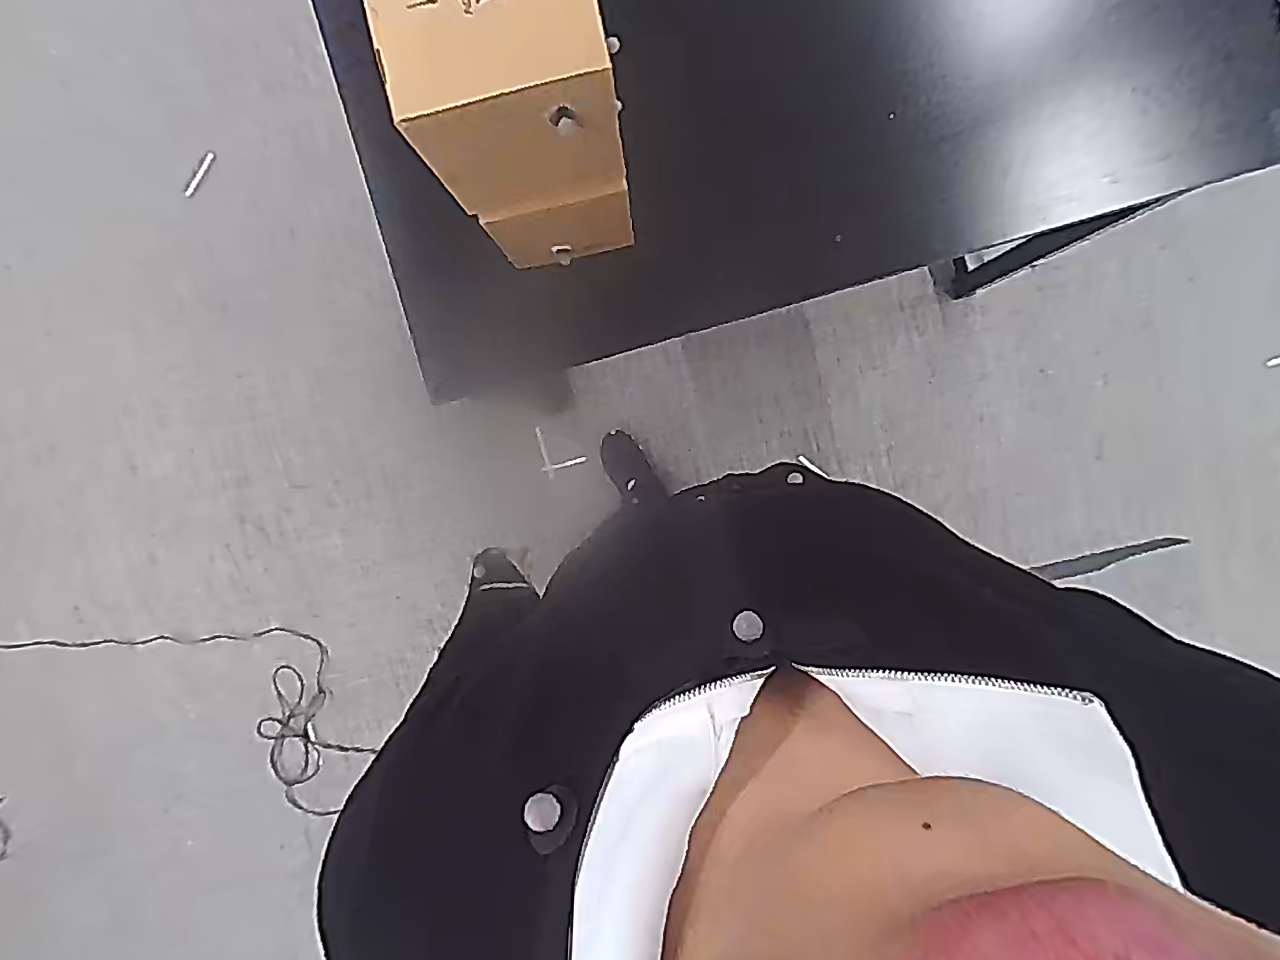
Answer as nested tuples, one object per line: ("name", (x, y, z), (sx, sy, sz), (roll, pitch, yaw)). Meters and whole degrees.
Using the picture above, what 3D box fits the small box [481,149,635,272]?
("small box", (-0.105, -0.379, 0.657), (0.168, 0.176, 0.179), (-12, 94, 3))

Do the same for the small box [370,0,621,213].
("small box", (-0.117, -0.374, 0.492), (0.179, 0.176, 0.168), (-12, 92, 3))
